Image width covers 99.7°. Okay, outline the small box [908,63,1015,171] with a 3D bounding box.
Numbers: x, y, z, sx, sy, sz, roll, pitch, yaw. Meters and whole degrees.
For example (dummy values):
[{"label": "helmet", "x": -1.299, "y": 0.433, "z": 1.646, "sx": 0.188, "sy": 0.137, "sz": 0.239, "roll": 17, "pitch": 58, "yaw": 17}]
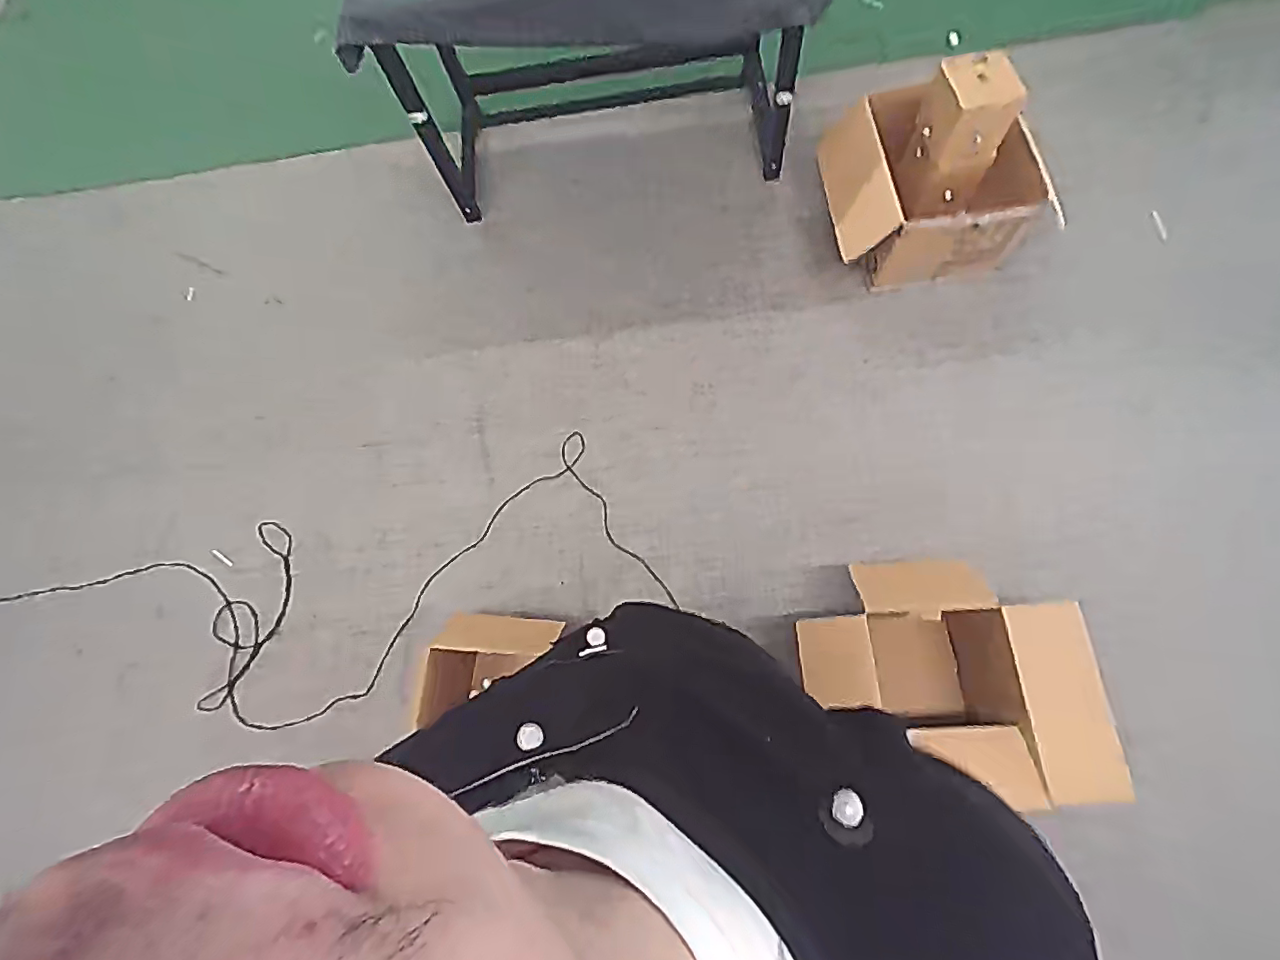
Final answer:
[{"label": "small box", "x": 0.873, "y": -0.984, "z": 1.485, "sx": 0.168, "sy": 0.176, "sz": 0.179, "roll": -13, "pitch": 72, "yaw": 1}]
